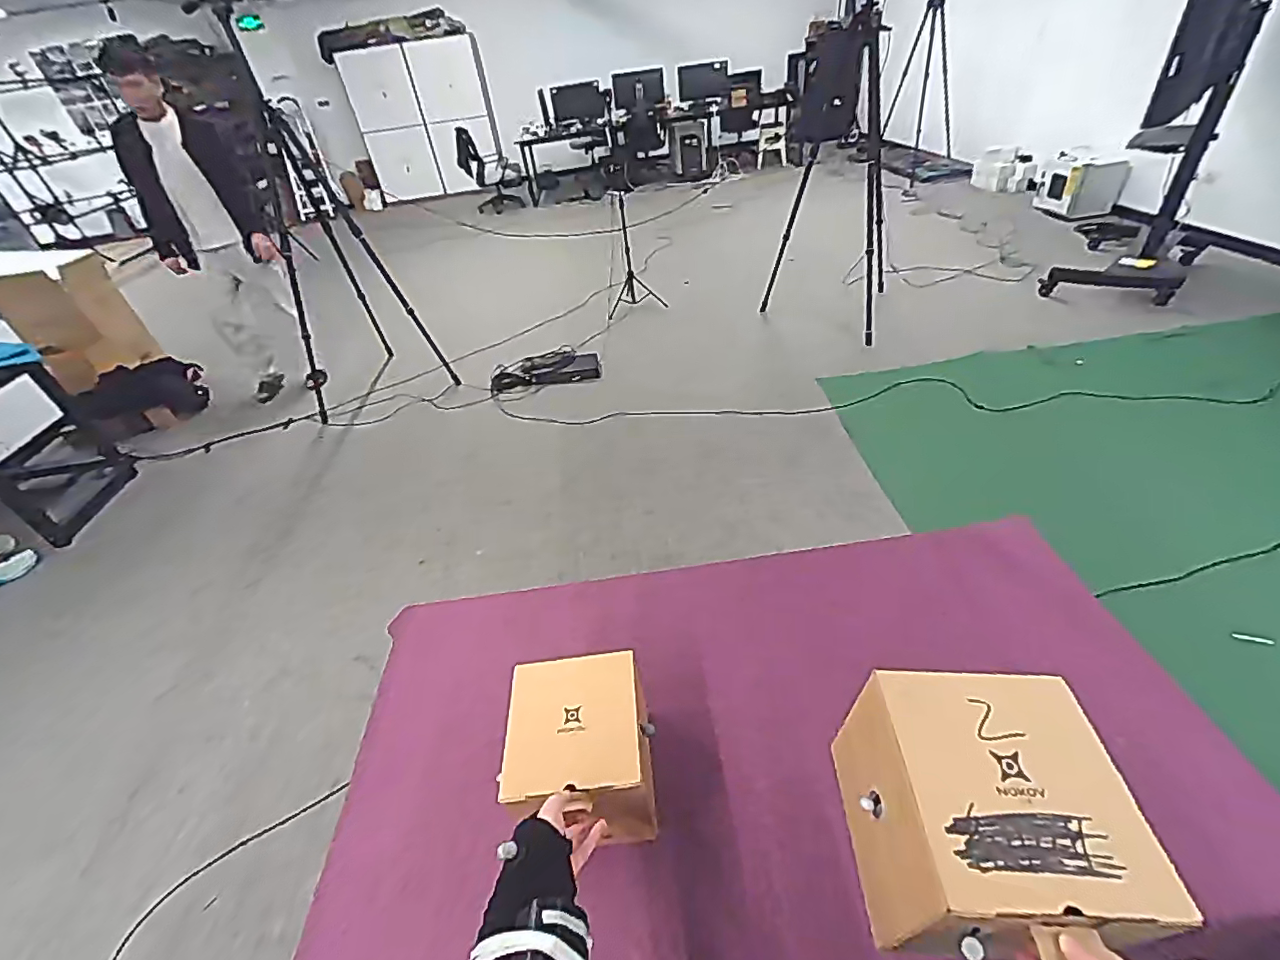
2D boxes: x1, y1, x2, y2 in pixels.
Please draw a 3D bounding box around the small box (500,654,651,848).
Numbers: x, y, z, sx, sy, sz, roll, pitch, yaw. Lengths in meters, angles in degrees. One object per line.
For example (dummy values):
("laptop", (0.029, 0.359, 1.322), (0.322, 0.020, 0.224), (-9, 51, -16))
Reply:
("small box", (-0.078, 0.367, 0.737), (0.168, 0.176, 0.179), (-8, 39, 1))
